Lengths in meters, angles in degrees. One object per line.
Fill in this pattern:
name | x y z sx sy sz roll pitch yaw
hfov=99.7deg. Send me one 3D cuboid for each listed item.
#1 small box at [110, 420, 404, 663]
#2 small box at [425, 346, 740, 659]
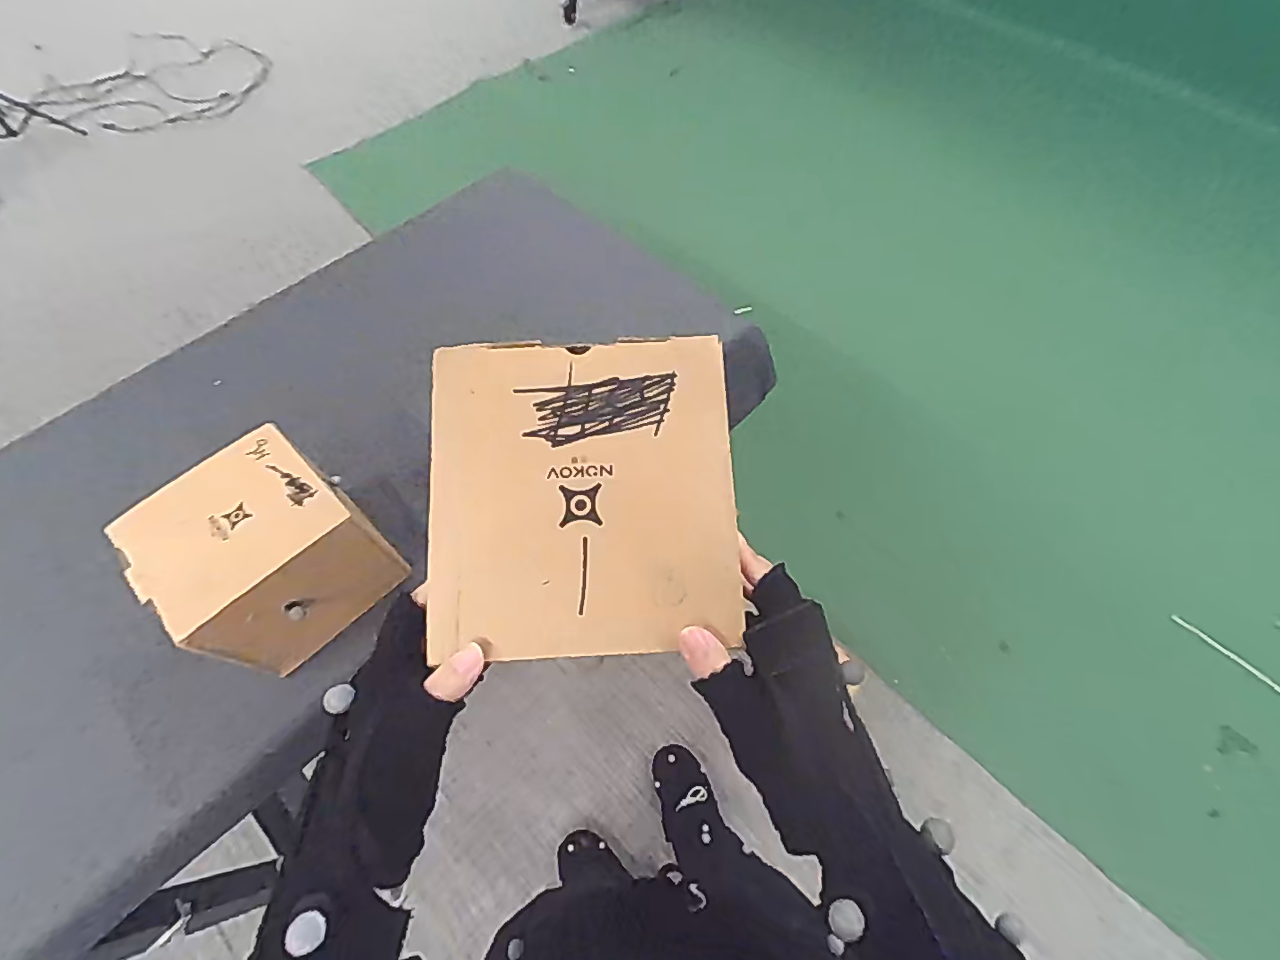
small box | -0.402 0.075 0.599 0.168 0.176 0.179 41 68 20
small box | -0.031 0.024 0.374 0.168 0.176 0.179 -1 78 0
